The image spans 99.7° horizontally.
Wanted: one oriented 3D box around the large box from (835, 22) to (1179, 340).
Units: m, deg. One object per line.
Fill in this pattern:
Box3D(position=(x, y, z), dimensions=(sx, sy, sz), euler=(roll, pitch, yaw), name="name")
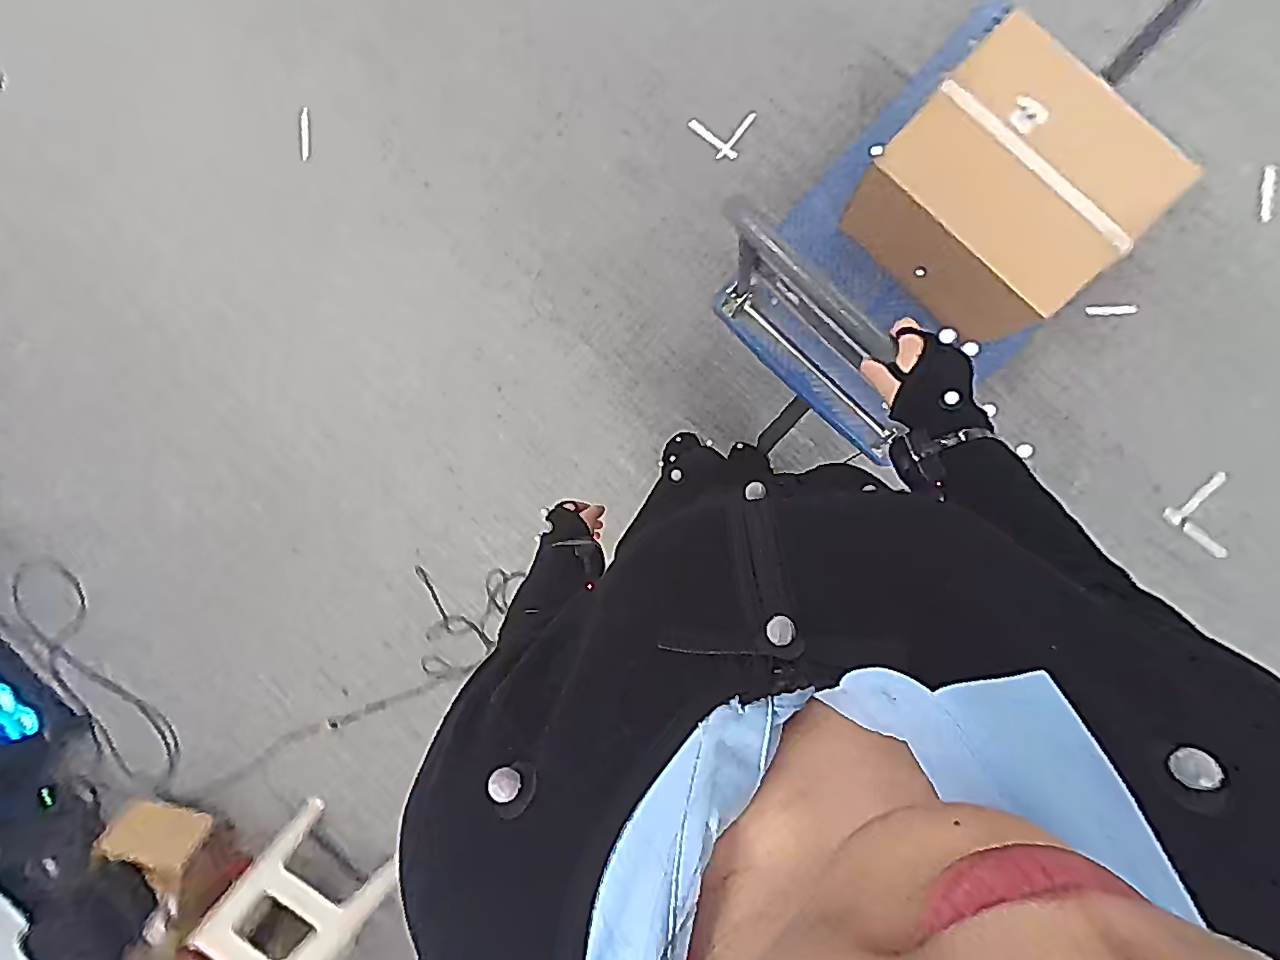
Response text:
Box3D(position=(0.666, -0.542, 1.068), dimensions=(0.408, 0.320, 0.320), euler=(44, 99, 4), name="large box")
